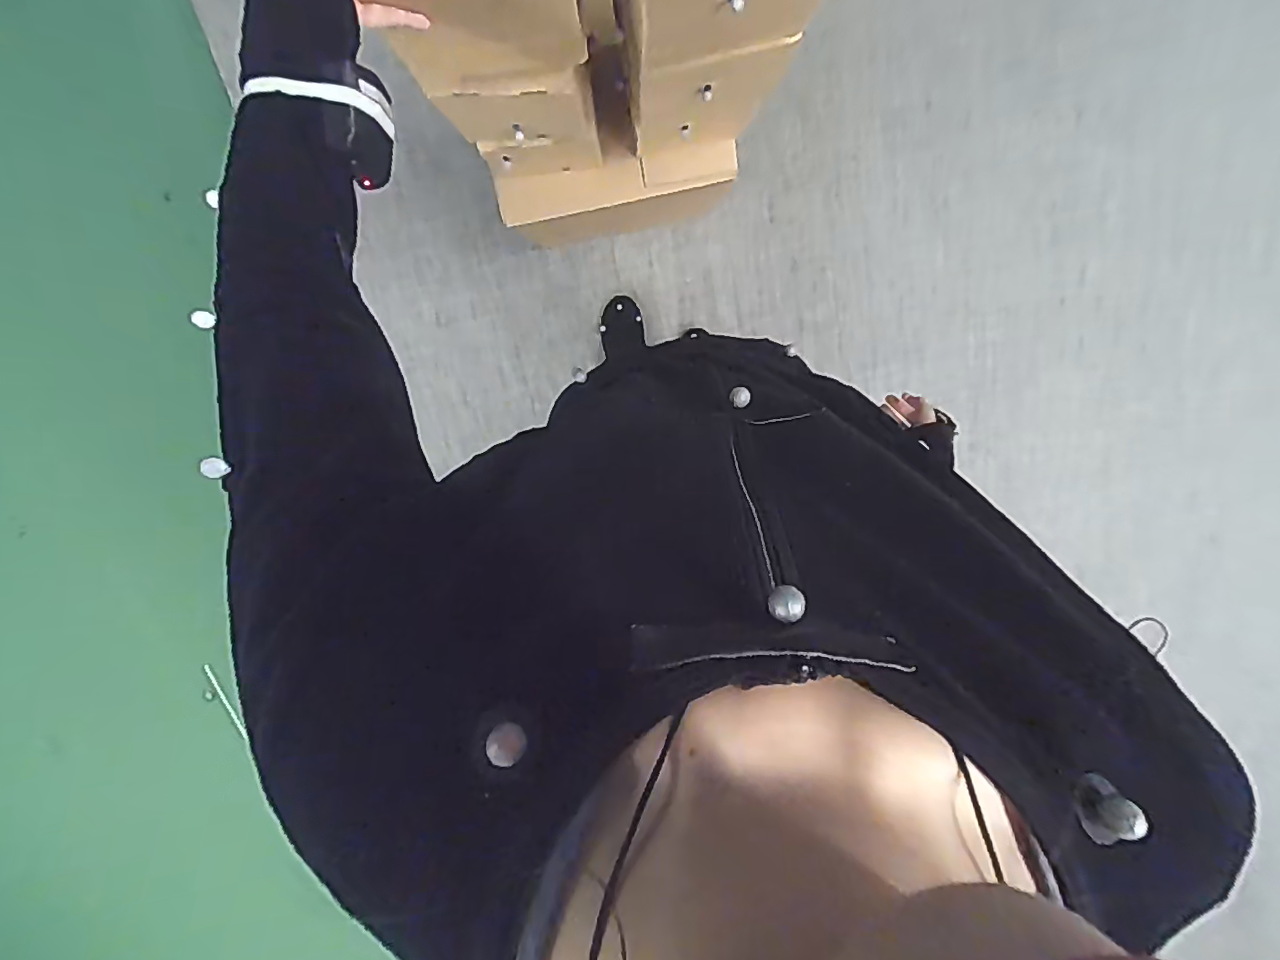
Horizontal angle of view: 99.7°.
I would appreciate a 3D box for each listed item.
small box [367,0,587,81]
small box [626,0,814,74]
[{"bbox_3d":[-0.149,-0.473,0.454,0.179,0.176,0.168,-7,101,2],"label":"small box"},{"bbox_3d":[0.066,-0.492,0.469,0.179,0.176,0.168,-12,108,4],"label":"small box"}]
